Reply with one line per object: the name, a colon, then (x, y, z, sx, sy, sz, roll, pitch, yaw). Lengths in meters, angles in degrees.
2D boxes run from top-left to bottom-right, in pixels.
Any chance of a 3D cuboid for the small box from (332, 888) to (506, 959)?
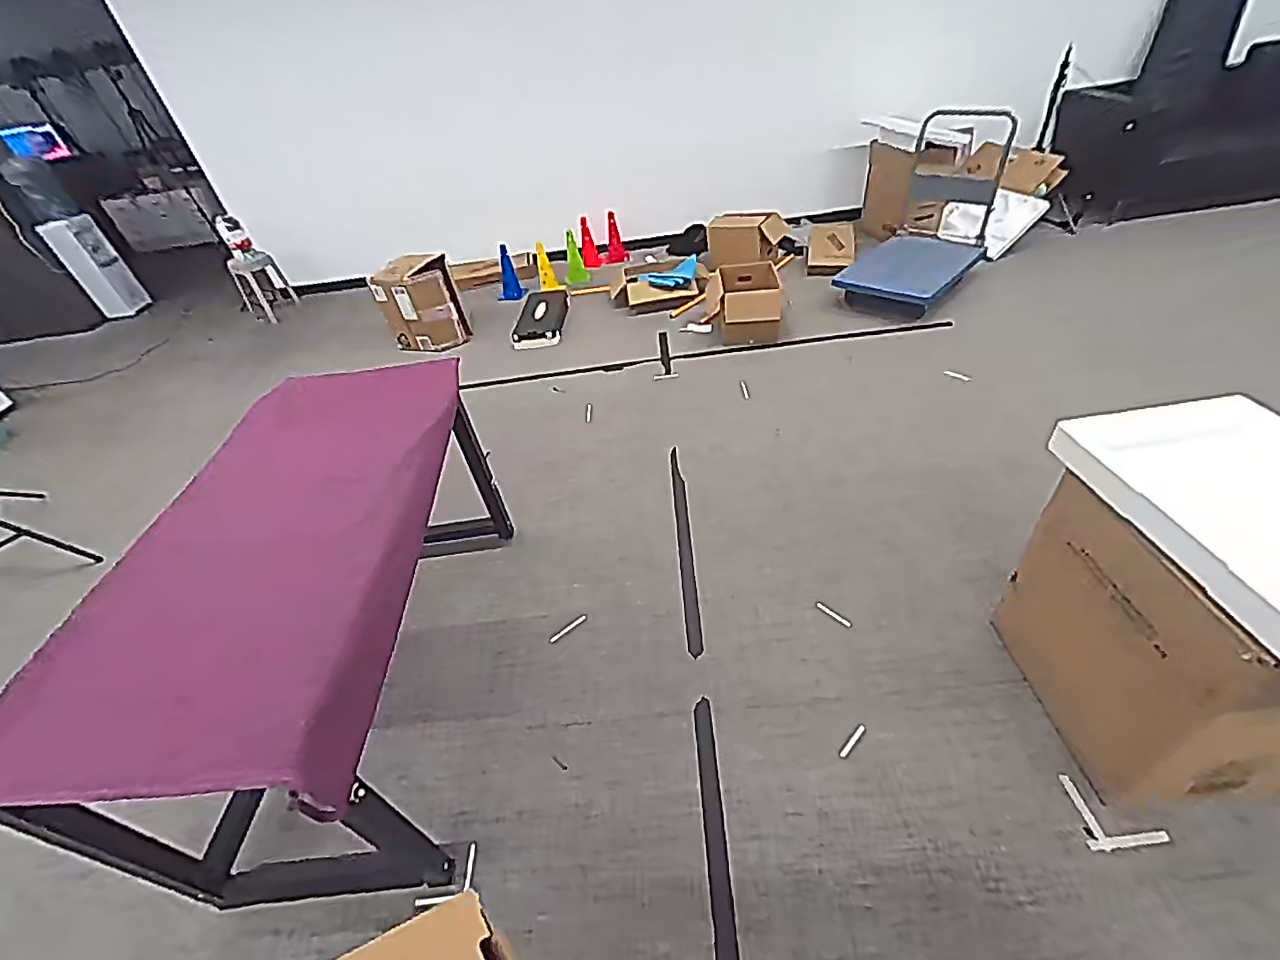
small box: (-0.239, 0.598, 0.566, 0.179, 0.176, 0.168, 1, 24, -43)
